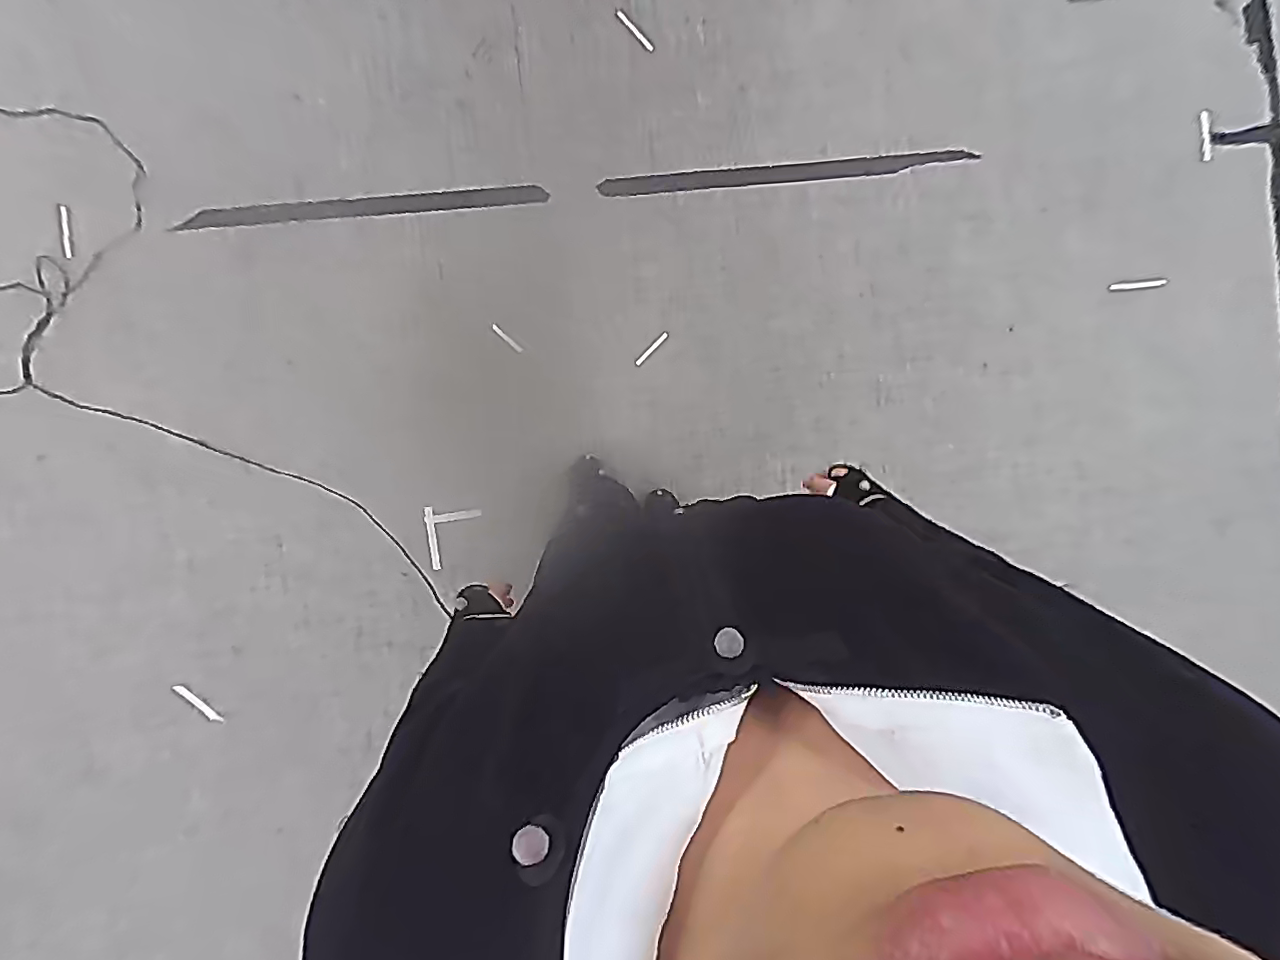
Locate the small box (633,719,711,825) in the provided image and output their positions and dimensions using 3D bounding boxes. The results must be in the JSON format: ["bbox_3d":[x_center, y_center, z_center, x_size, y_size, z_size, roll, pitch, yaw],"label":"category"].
[{"bbox_3d":[0.076,0.717,1.328,0.168,0.176,0.179,-7,91,0],"label":"small box"}]

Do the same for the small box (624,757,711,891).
[{"bbox_3d":[0.058,0.731,1.163,0.168,0.176,0.179,-5,92,0],"label":"small box"}]
